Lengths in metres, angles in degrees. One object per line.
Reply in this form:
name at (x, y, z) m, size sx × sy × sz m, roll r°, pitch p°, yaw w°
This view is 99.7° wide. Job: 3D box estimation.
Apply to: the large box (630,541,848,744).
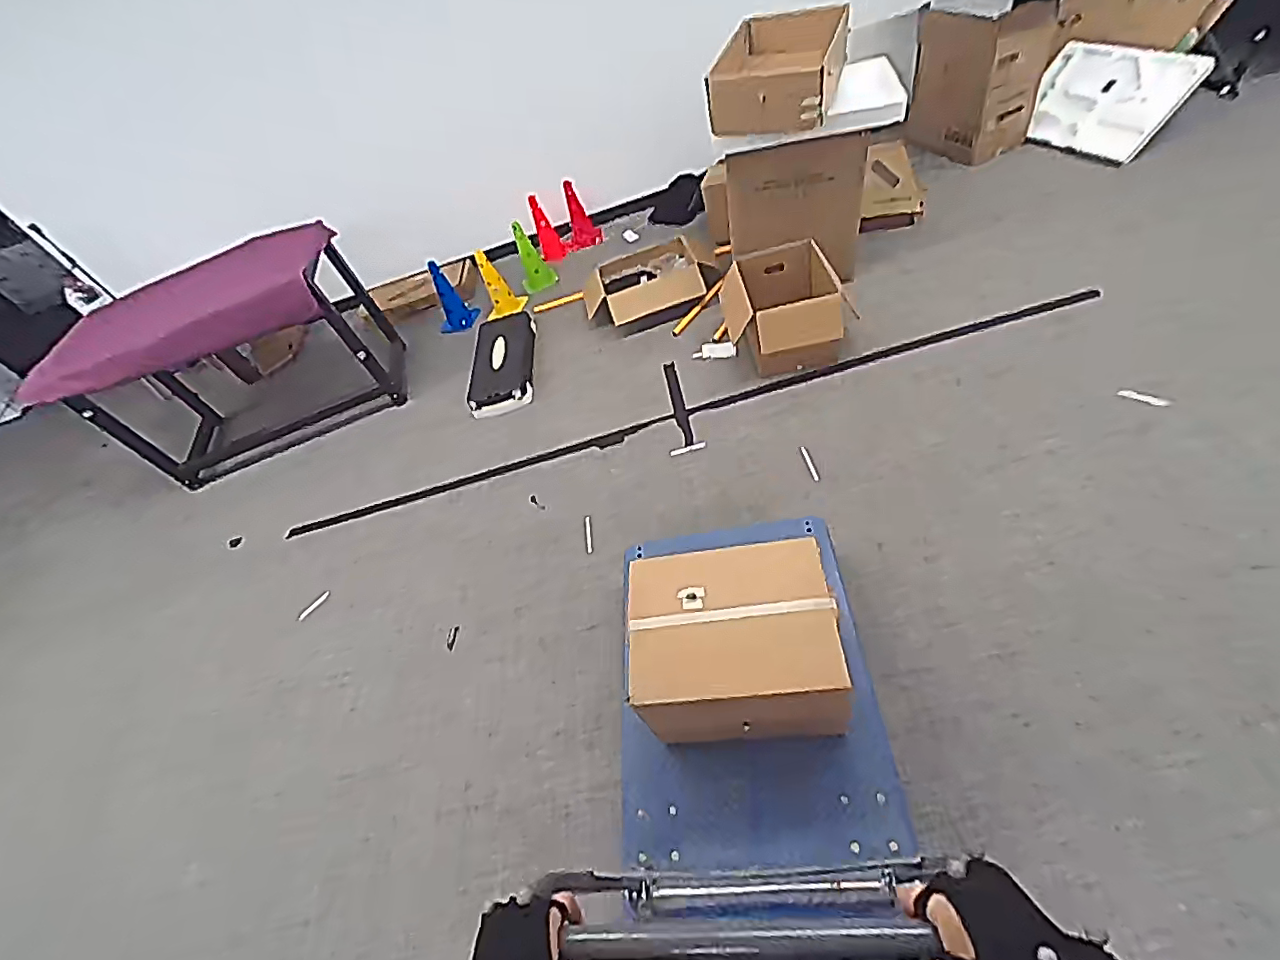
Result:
large box at (0.213, 0.371, 1.193) m, size 0.408 × 0.320 × 0.320 m, roll -10°, pitch 49°, yaw 12°
